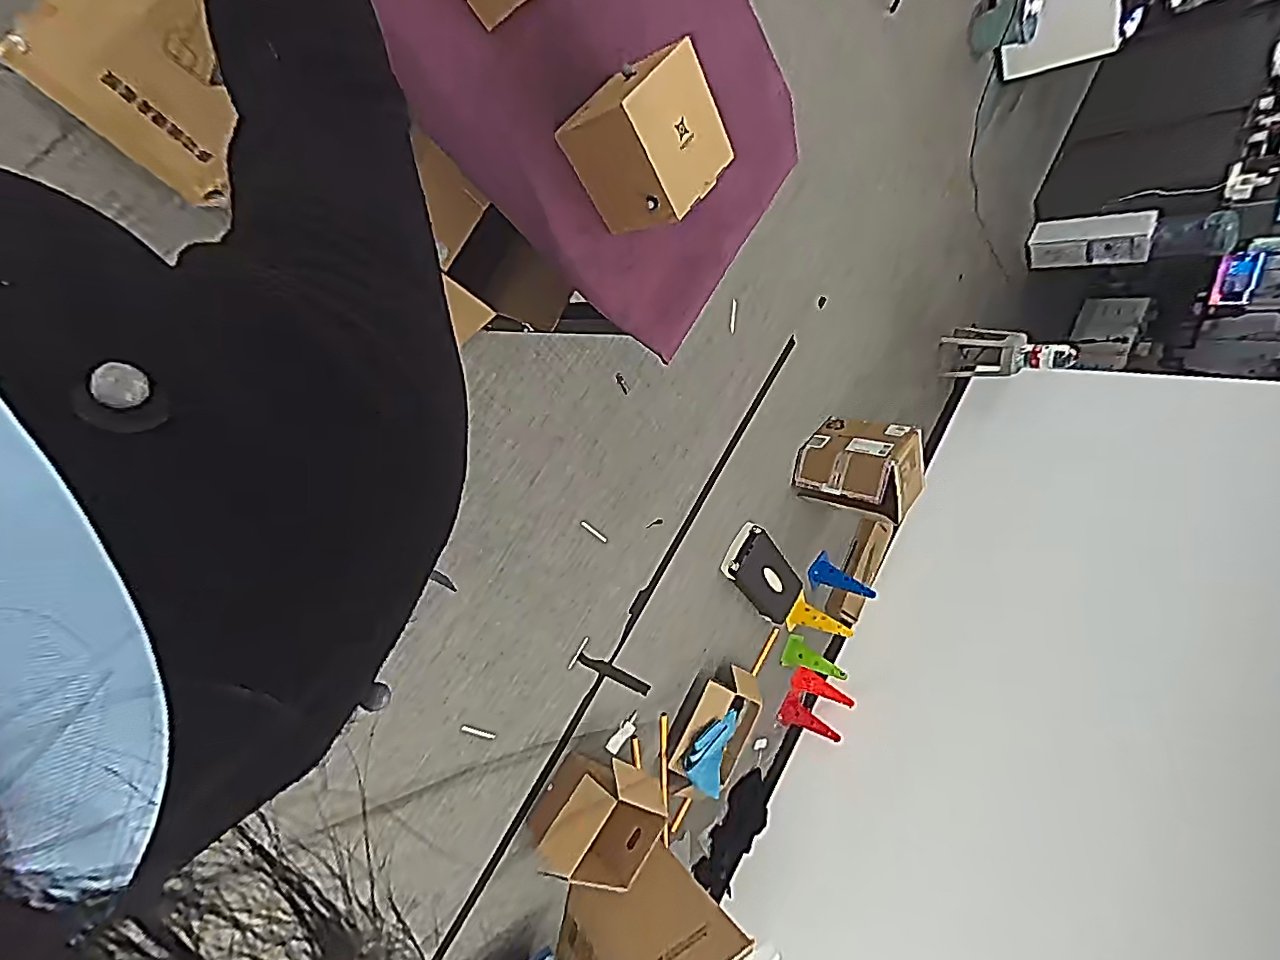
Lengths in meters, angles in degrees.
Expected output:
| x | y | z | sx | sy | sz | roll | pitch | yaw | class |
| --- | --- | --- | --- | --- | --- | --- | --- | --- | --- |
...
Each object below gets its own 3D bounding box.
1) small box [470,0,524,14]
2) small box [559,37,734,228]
| x | y | z | sx | sy | sz | roll | pitch | yaw | class |
| --- | --- | --- | --- | --- | --- | --- | --- | --- | --- |
| -0.154 | -0.693 | 0.624 | 0.179 | 0.176 | 0.168 | 41 | 72 | -42 | small box |
| 0.009 | -0.518 | 0.834 | 0.168 | 0.176 | 0.179 | -54 | 133 | -17 | small box |
